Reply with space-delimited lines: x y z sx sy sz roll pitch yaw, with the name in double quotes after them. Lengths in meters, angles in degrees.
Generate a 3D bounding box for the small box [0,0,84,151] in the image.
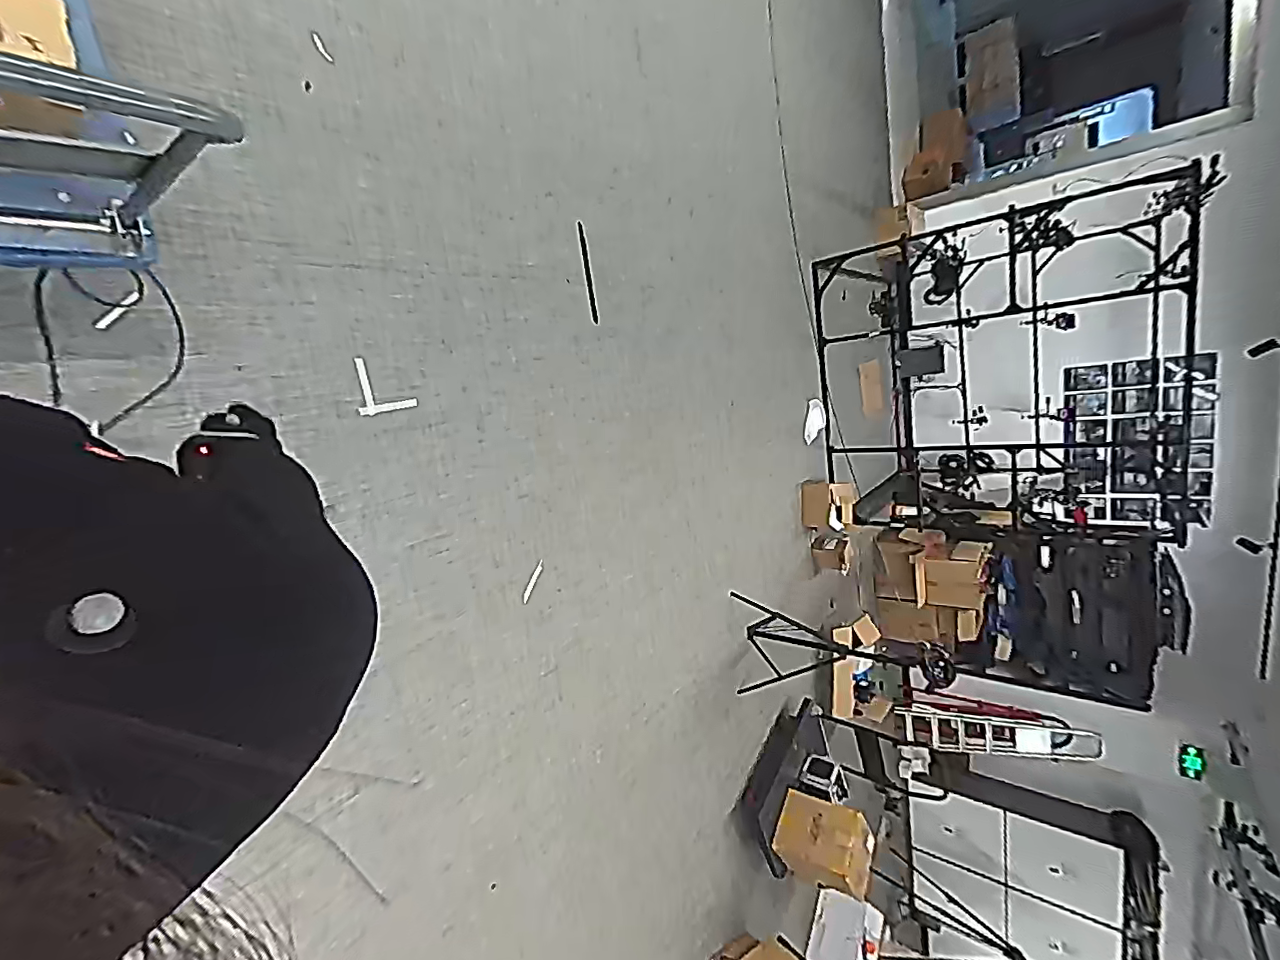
-0.991 -0.635 0.822 0.179 0.176 0.168 -14 101 -50 "small box"
